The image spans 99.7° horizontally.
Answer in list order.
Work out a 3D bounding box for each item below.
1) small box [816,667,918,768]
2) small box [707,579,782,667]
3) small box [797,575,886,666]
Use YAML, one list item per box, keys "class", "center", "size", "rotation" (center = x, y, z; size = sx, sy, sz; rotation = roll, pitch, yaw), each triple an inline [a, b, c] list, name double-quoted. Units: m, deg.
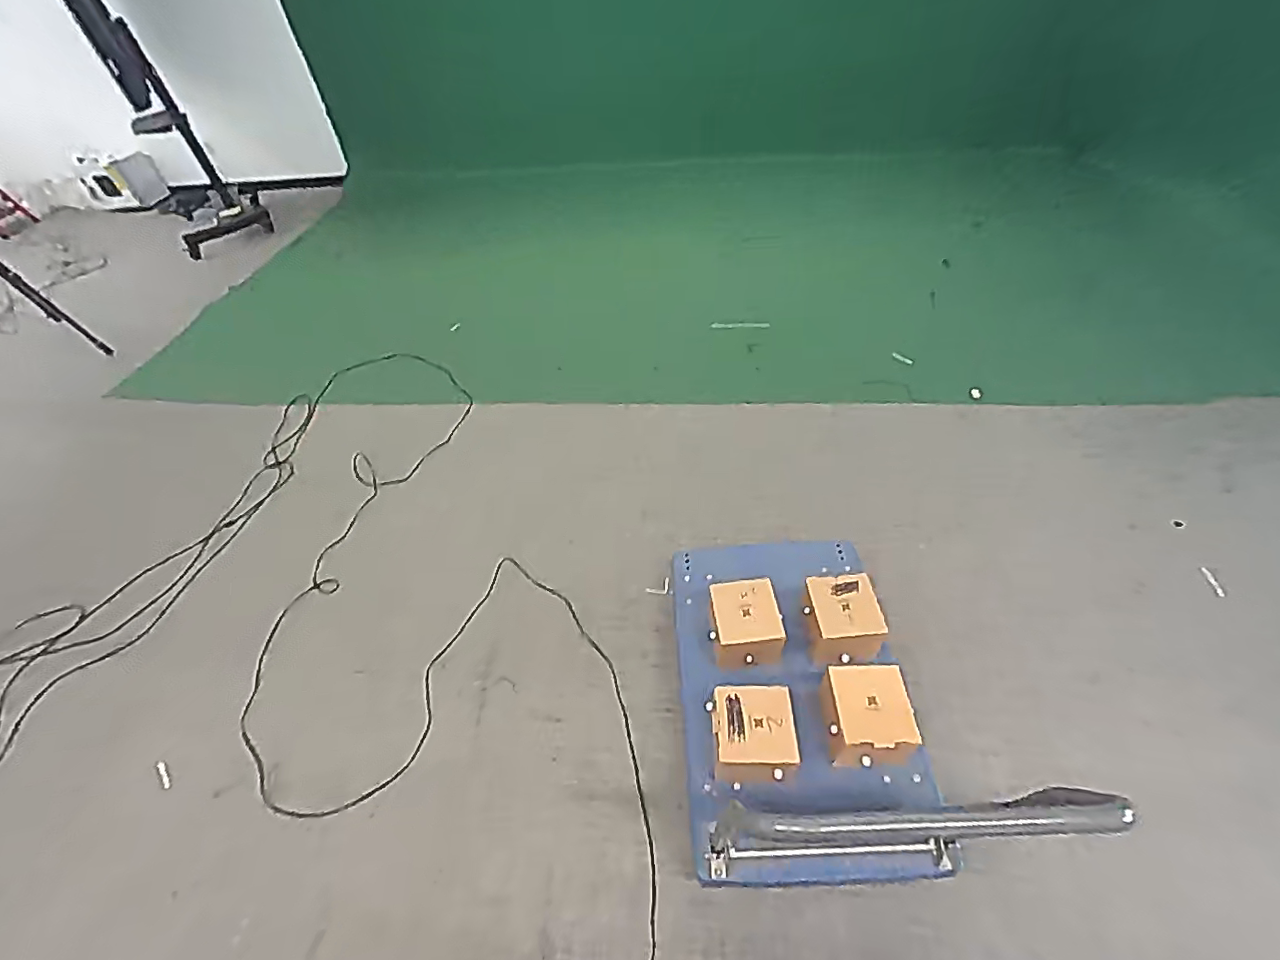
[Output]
- class: "small box"
  center: [0.528, 0.564, 1.286]
  size: [0.168, 0.176, 0.179]
  rotation: [-2, 47, 3]
- class: "small box"
  center: [0.275, 0.392, 1.459]
  size: [0.168, 0.176, 0.179]
  rotation: [-5, 48, -1]
- class: "small box"
  center: [0.530, 0.377, 1.450]
  size: [0.168, 0.176, 0.179]
  rotation: [-5, 49, 1]
